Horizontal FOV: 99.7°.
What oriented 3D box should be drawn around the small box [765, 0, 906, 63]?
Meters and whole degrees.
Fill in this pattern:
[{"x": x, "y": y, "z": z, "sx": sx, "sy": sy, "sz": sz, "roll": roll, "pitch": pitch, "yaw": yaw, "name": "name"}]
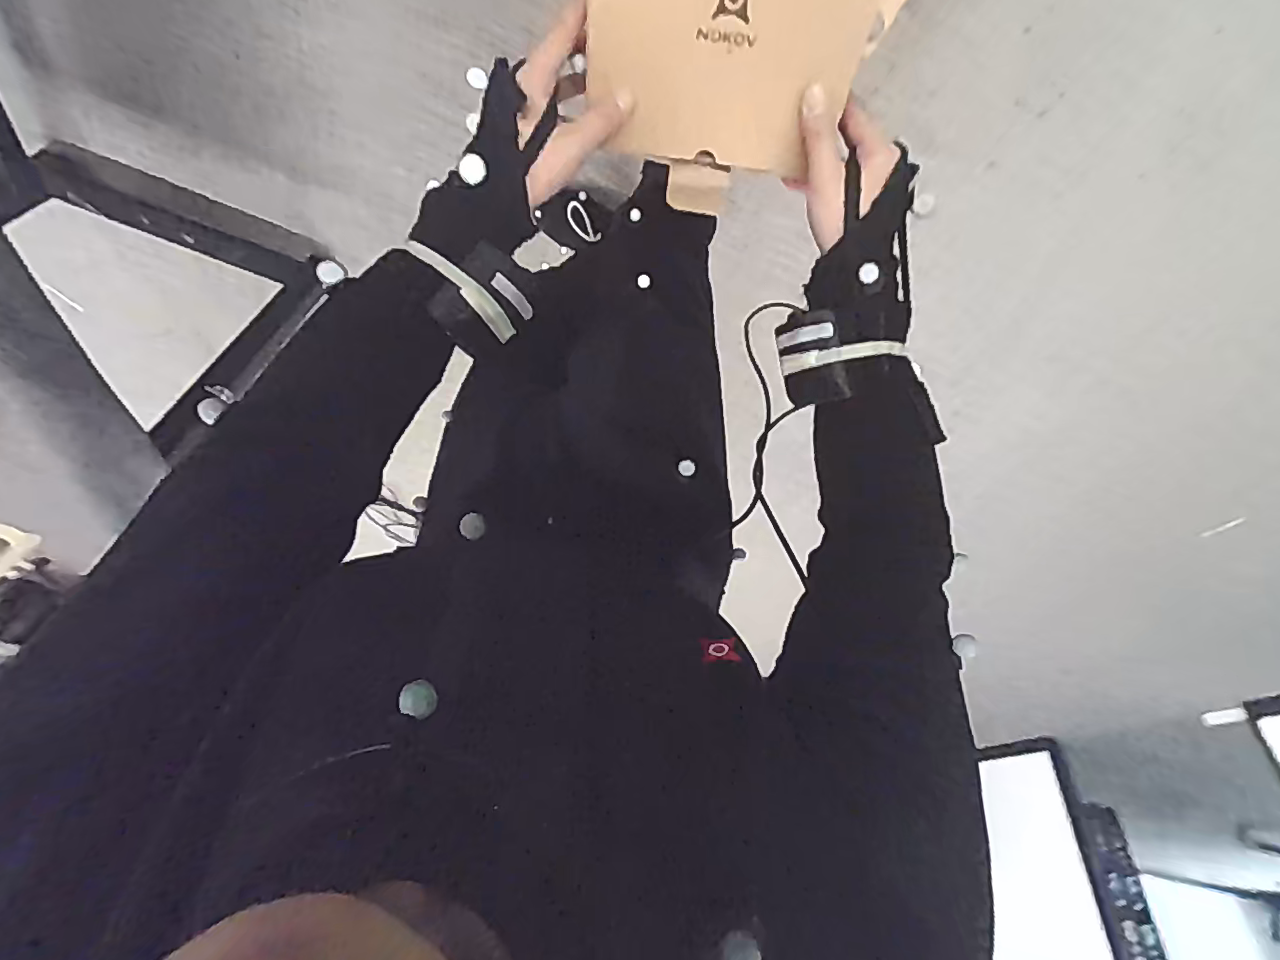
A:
[{"x": 0.264, "y": -0.675, "z": 0.665, "sx": 0.168, "sy": 0.176, "sz": 0.179, "roll": 20, "pitch": 142, "yaw": -14, "name": "small box"}]
